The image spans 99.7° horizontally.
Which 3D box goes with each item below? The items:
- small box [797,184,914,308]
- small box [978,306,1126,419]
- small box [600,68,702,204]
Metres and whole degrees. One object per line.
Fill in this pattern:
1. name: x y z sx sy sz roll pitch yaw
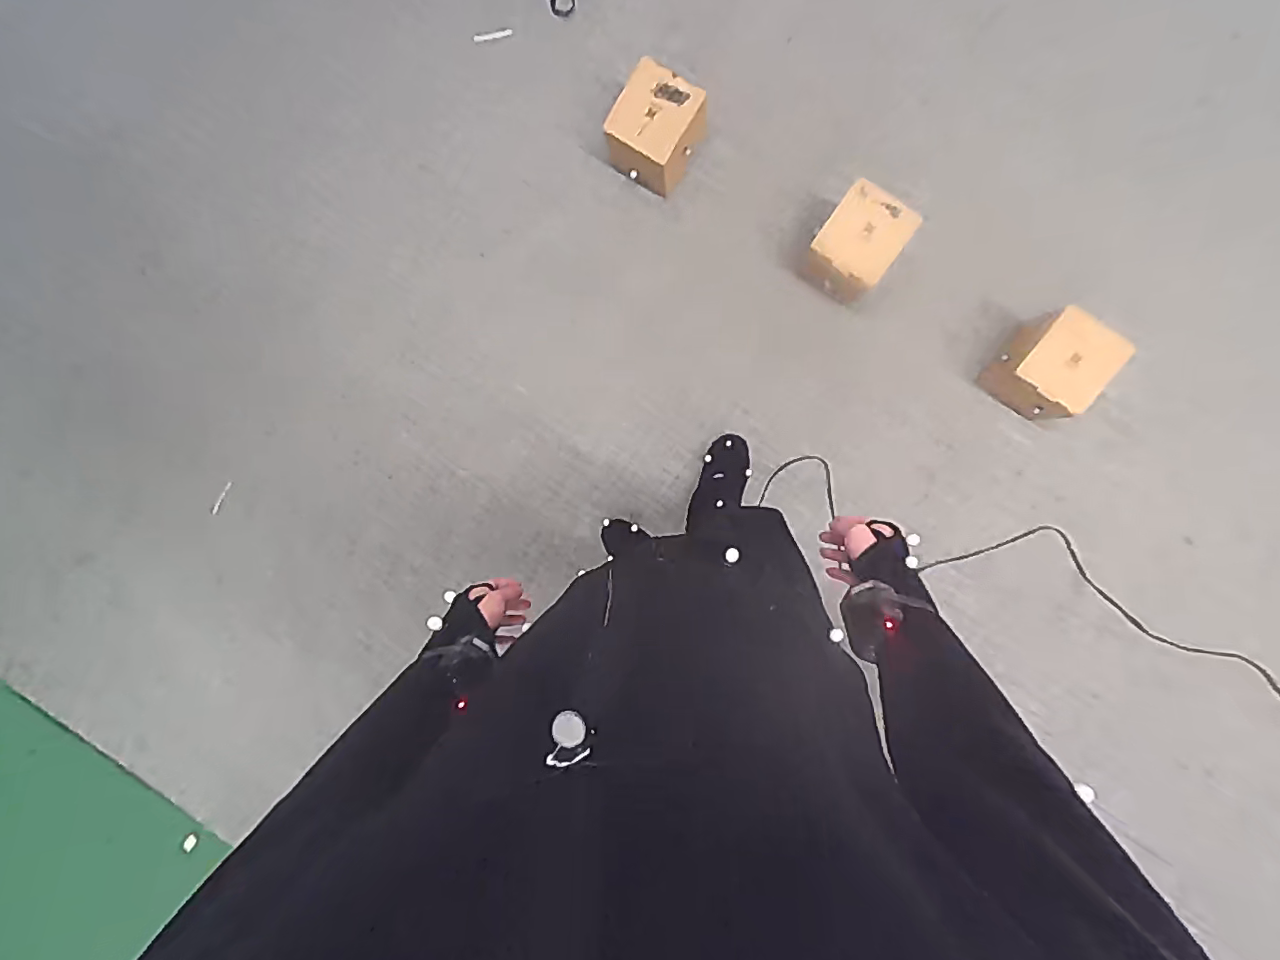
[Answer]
1. small box: 0.477 -0.520 1.233 0.168 0.176 0.179 35 98 3
2. small box: 0.898 -0.250 1.204 0.168 0.176 0.179 34 96 3
3. small box: 0.030 -0.791 1.263 0.168 0.176 0.179 33 98 4
